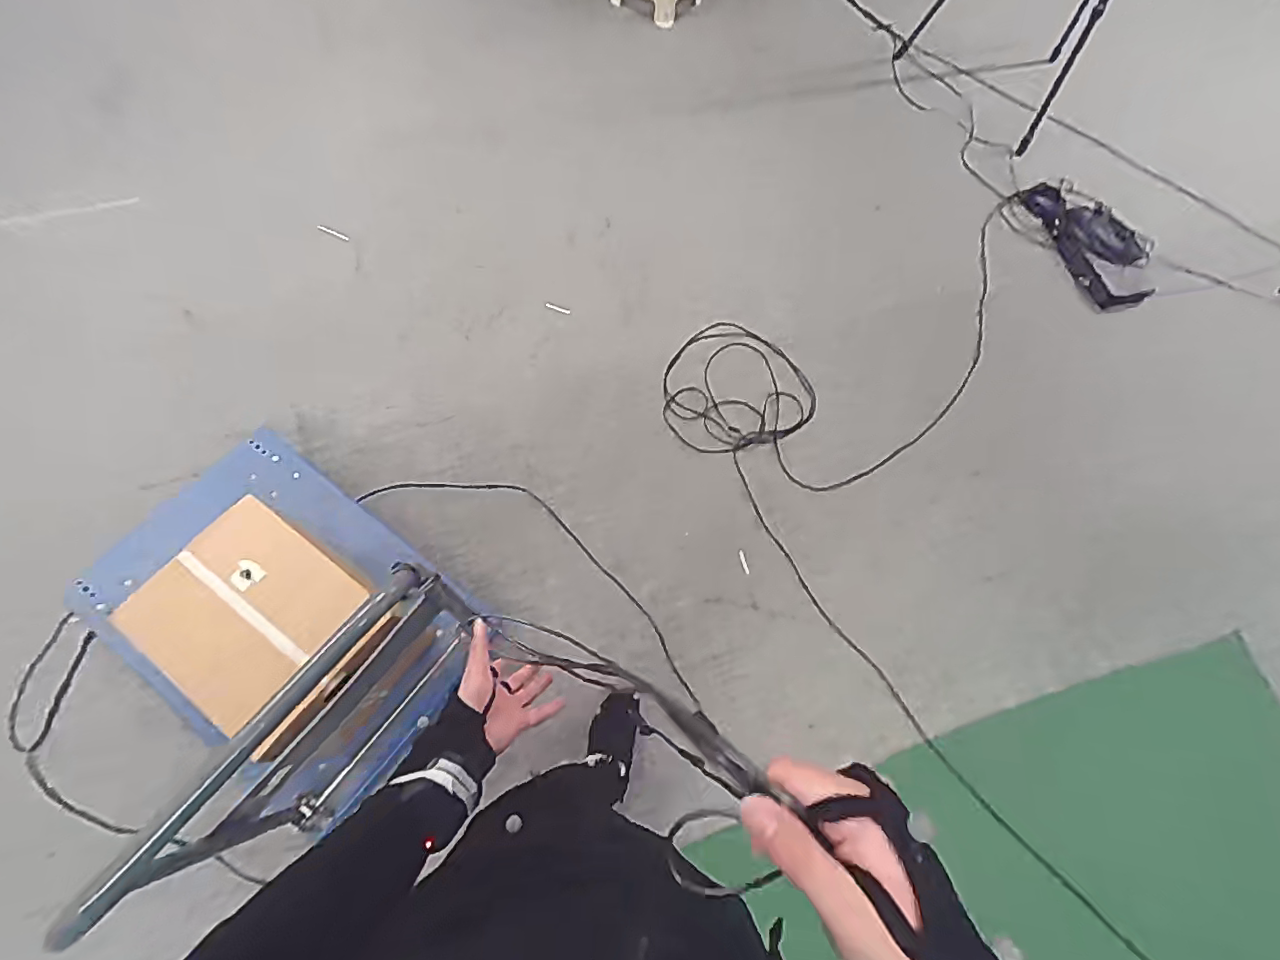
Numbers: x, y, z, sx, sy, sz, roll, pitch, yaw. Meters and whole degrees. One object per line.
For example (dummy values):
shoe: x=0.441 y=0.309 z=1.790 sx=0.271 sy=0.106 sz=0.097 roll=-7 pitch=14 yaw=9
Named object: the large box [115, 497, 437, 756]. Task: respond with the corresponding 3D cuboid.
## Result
large box: x=-0.716 y=0.309 z=1.135 sx=0.408 sy=0.320 sz=0.320 roll=34 pitch=68 yaw=11
